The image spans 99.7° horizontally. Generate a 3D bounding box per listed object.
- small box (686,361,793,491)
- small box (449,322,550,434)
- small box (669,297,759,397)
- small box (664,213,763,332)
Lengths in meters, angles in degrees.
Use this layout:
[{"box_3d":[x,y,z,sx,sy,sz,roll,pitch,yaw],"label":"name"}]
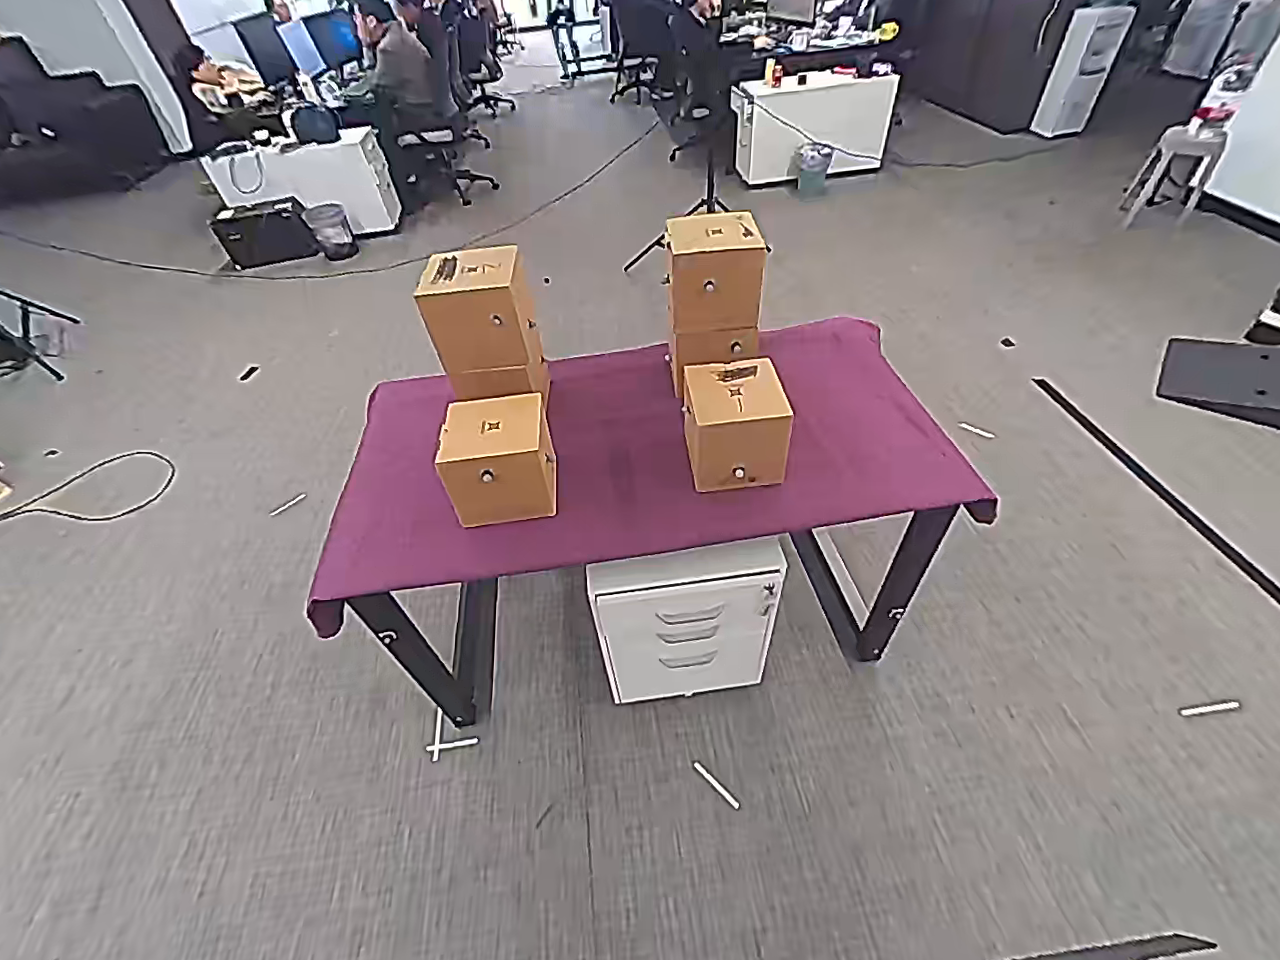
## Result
[{"box_3d":[0.177,-0.101,1.021,0.168,0.176,0.179,-6,45,0],"label":"small box"},{"box_3d":[-0.298,-0.224,1.190,0.168,0.176,0.179,-5,48,3],"label":"small box"},{"box_3d":[0.159,-0.305,1.218,0.179,0.176,0.168,-6,46,1],"label":"small box"},{"box_3d":[0.145,-0.418,1.100,0.179,0.176,0.168,-5,47,2],"label":"small box"}]
